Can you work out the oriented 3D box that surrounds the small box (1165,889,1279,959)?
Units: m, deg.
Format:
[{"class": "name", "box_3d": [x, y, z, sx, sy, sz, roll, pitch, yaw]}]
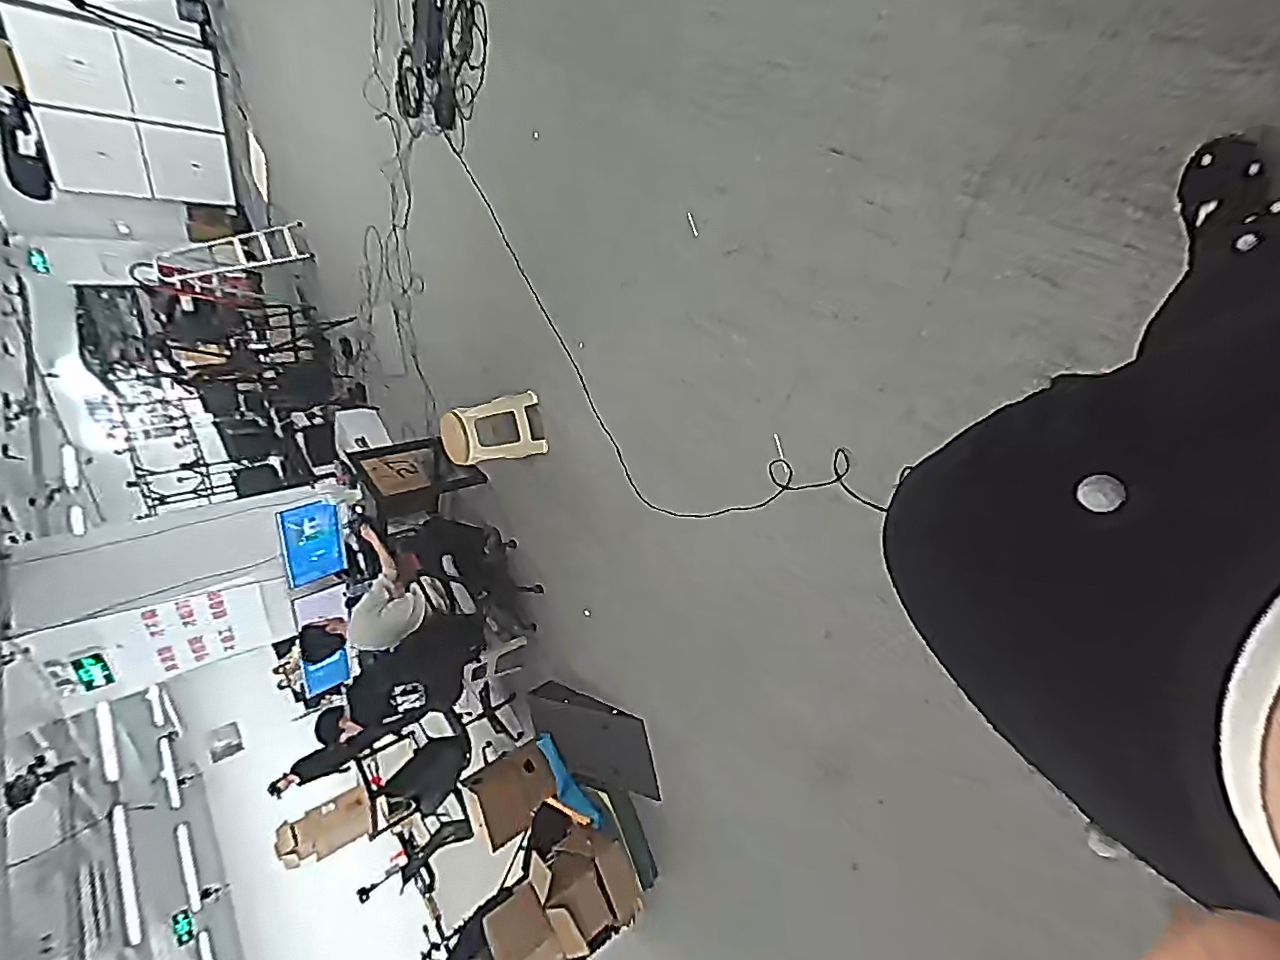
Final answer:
[{"class": "small box", "box_3d": [1.337, 1.067, 1.201, 0.168, 0.176, 0.179, 43, 132, 30]}]
